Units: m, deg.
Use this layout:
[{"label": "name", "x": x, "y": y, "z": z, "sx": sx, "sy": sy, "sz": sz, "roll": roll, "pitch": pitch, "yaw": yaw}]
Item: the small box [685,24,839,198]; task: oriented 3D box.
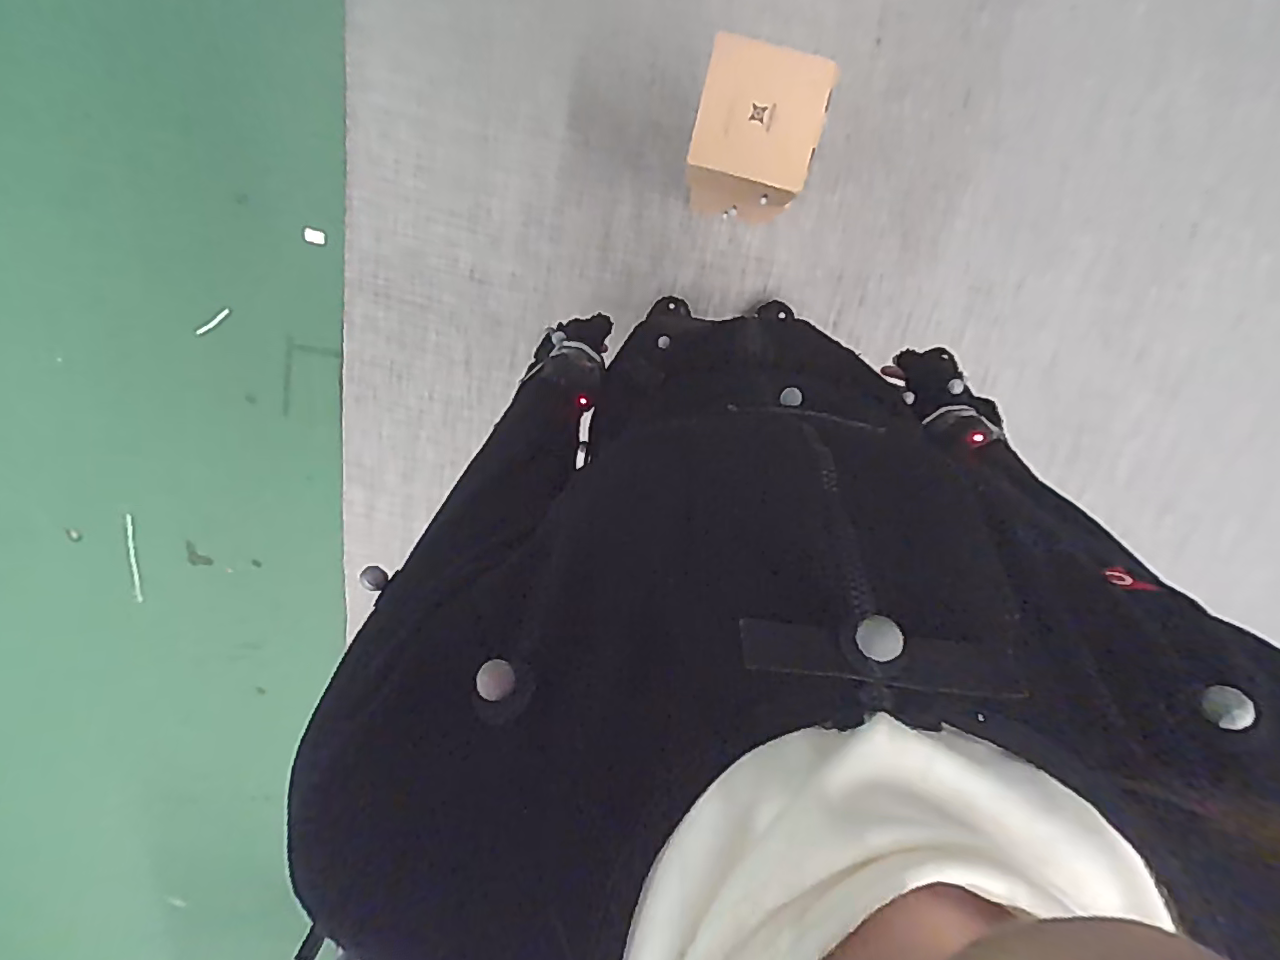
[{"label": "small box", "x": 0.174, "y": -0.548, "z": 0.830, "sx": 0.179, "sy": 0.176, "sz": 0.168, "roll": 15, "pitch": 110, "yaw": 1}]

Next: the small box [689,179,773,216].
[{"label": "small box", "x": 0.211, "y": -0.666, "z": 1.129, "sx": 0.179, "sy": 0.176, "sz": 0.168, "roll": 16, "pitch": 109, "yaw": -2}]

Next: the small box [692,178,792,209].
[{"label": "small box", "x": 0.199, "y": -0.605, "z": 0.981, "sx": 0.179, "sy": 0.176, "sz": 0.168, "roll": 15, "pitch": 111, "yaw": -1}]
